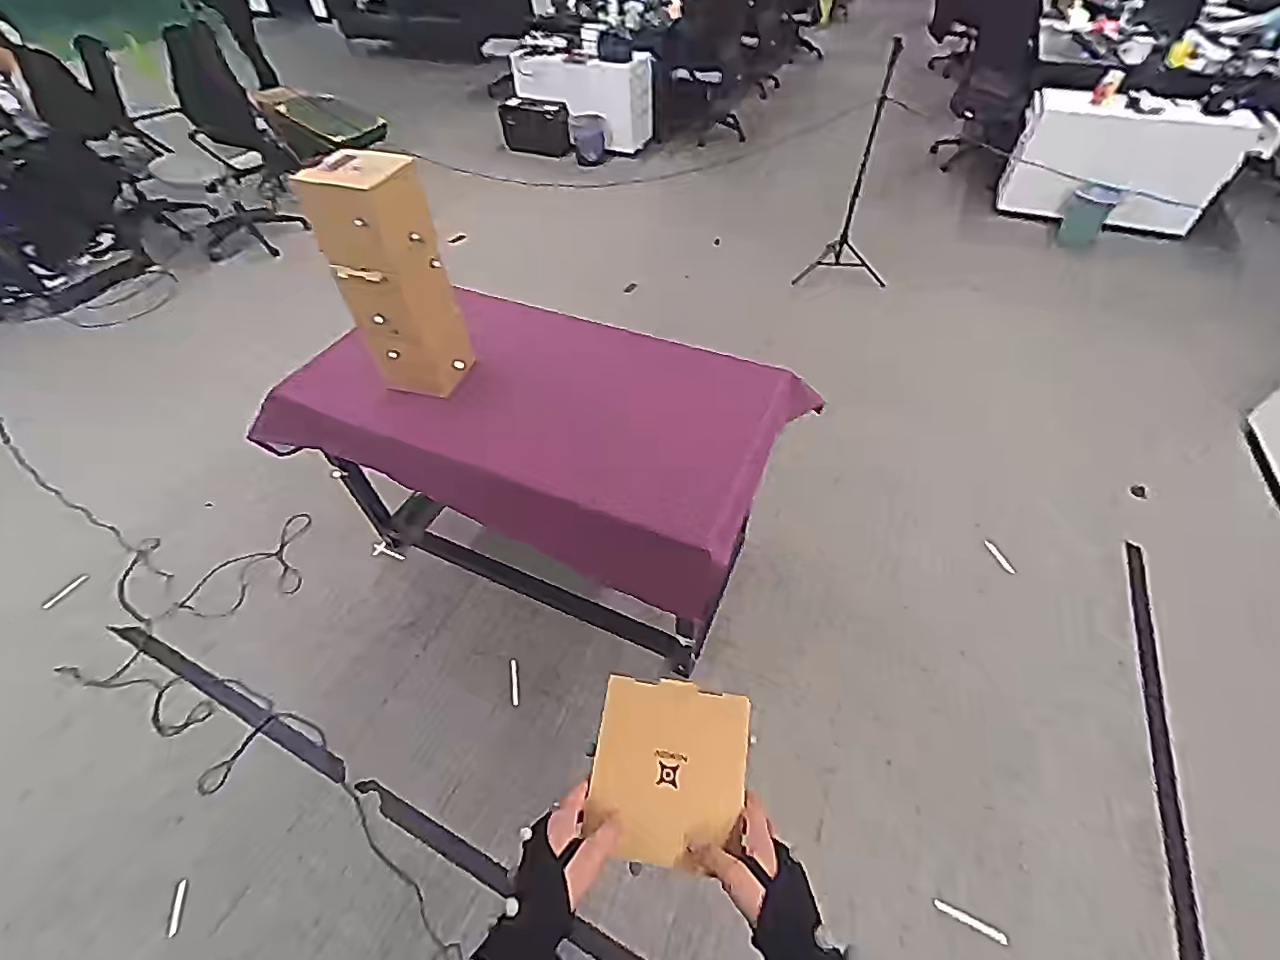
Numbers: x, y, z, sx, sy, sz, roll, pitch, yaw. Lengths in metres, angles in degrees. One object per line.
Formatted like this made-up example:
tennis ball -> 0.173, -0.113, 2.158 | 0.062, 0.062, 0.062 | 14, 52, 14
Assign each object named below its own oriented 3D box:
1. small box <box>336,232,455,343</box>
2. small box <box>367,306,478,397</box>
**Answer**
small box -> -0.547, -0.443, 1.244 | 0.168, 0.176, 0.179 | 10, 51, 10
small box -> -0.538, -0.330, 1.364 | 0.179, 0.176, 0.168 | 12, 51, 10
